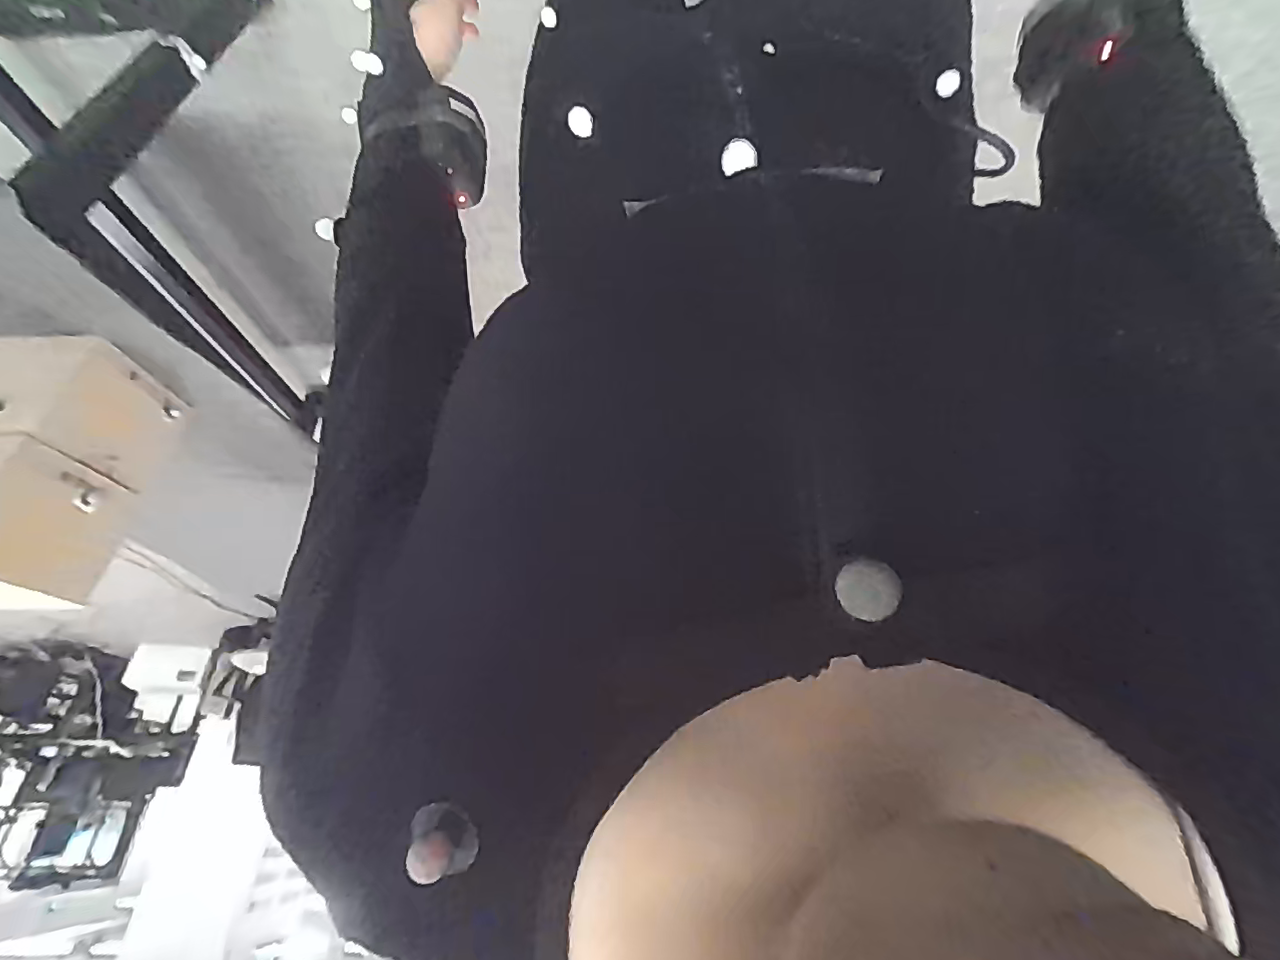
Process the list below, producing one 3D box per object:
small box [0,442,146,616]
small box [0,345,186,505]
[{"bbox_3d":[-0.796,0.065,0.681,0.179,0.176,0.168,-2,151,5],"label":"small box"},{"bbox_3d":[-0.798,-0.075,0.764,0.179,0.176,0.168,1,150,3],"label":"small box"}]
